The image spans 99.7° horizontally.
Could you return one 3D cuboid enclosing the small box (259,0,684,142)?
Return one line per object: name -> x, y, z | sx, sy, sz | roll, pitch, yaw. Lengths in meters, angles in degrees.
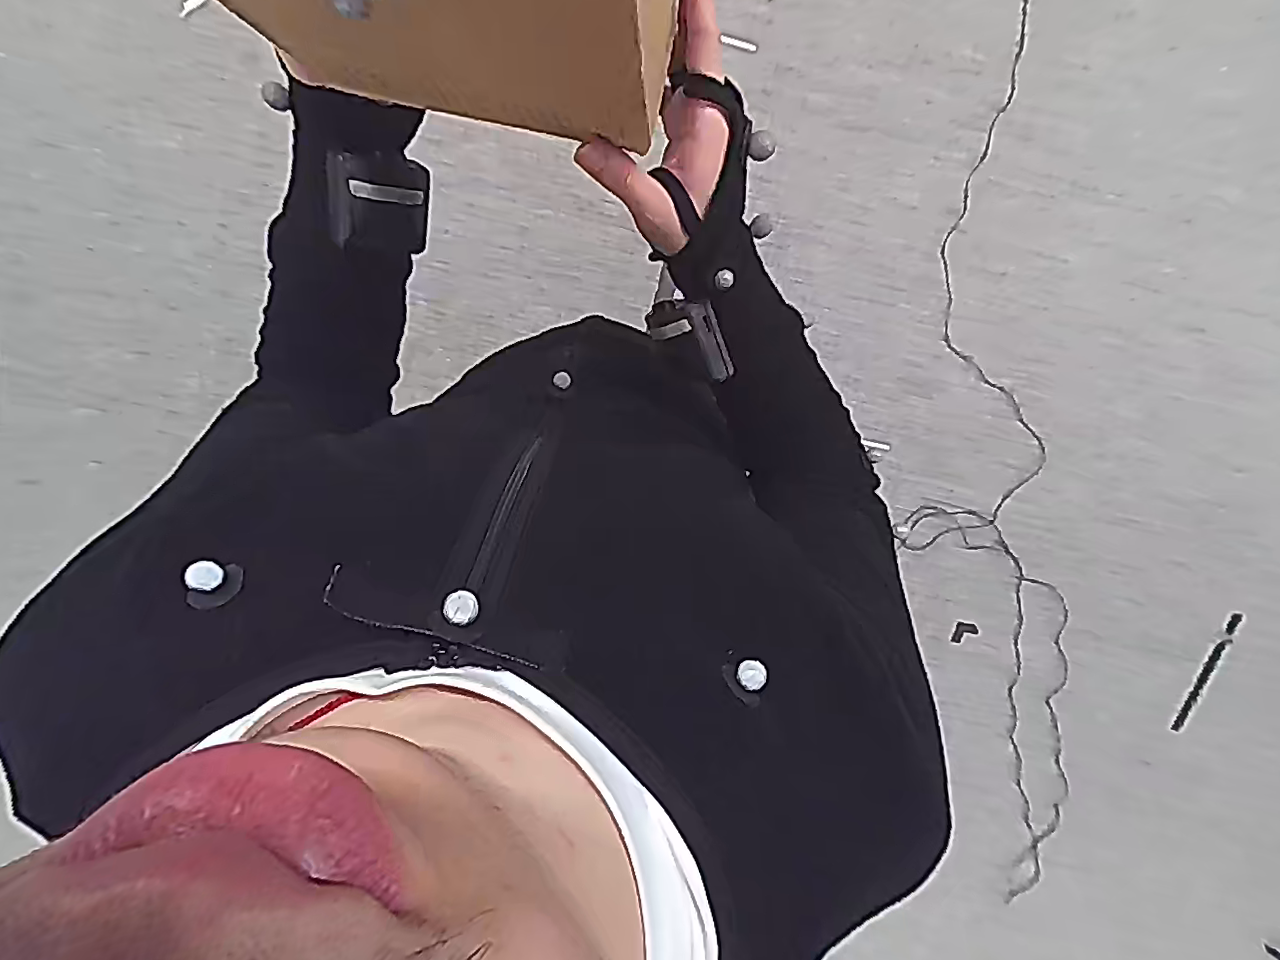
small box -> -0.064, -0.252, 0.198 | 0.179, 0.176, 0.168 | 11, 105, -1
